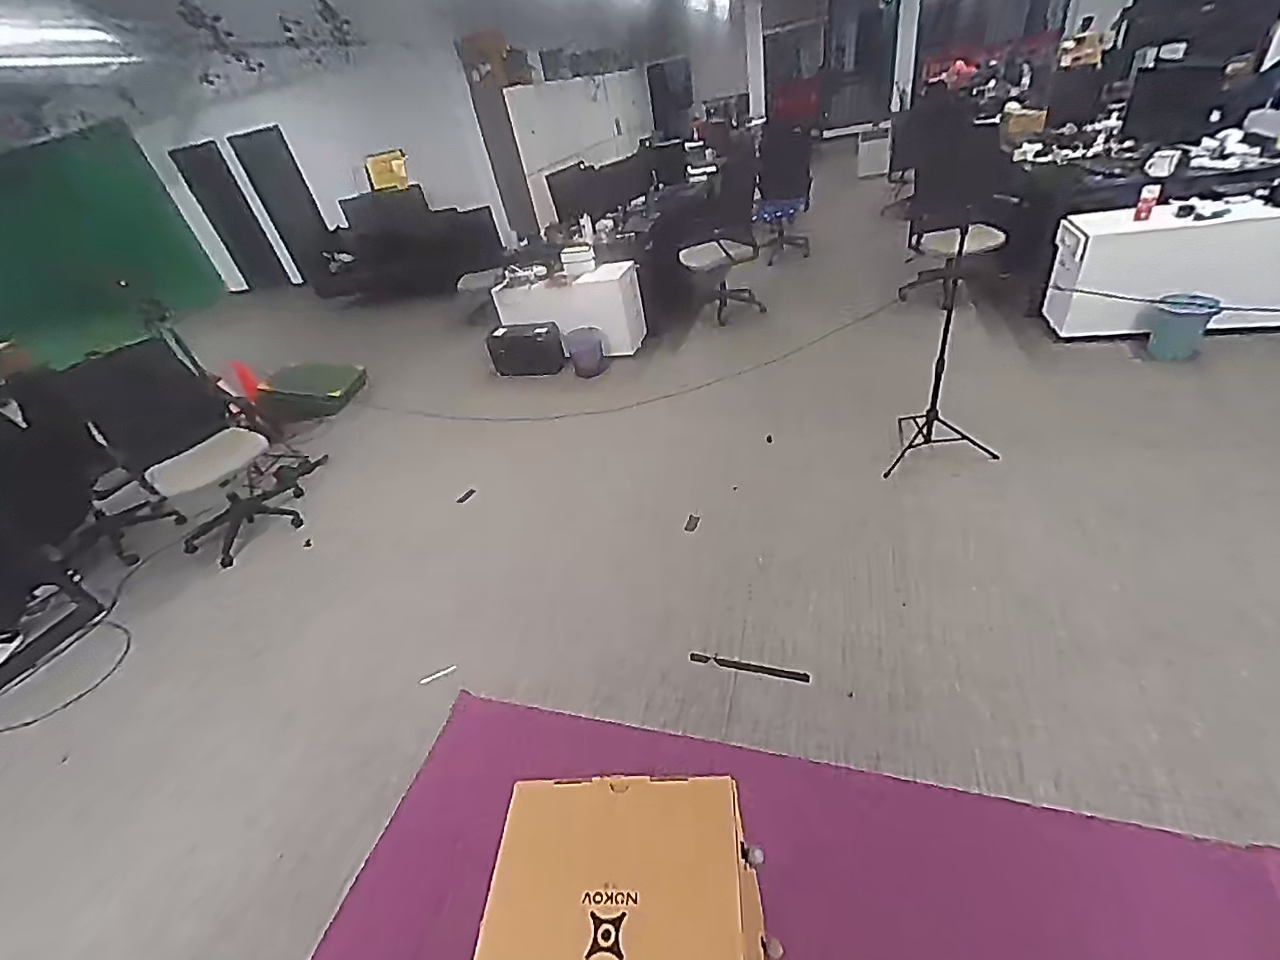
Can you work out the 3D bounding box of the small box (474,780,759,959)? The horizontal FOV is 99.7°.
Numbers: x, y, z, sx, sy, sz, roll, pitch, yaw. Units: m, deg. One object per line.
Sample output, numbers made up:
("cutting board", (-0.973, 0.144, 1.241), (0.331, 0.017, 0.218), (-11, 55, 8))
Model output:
("small box", (-0.003, 0.336, 0.370), (0.168, 0.176, 0.179), (-7, 34, 9))
